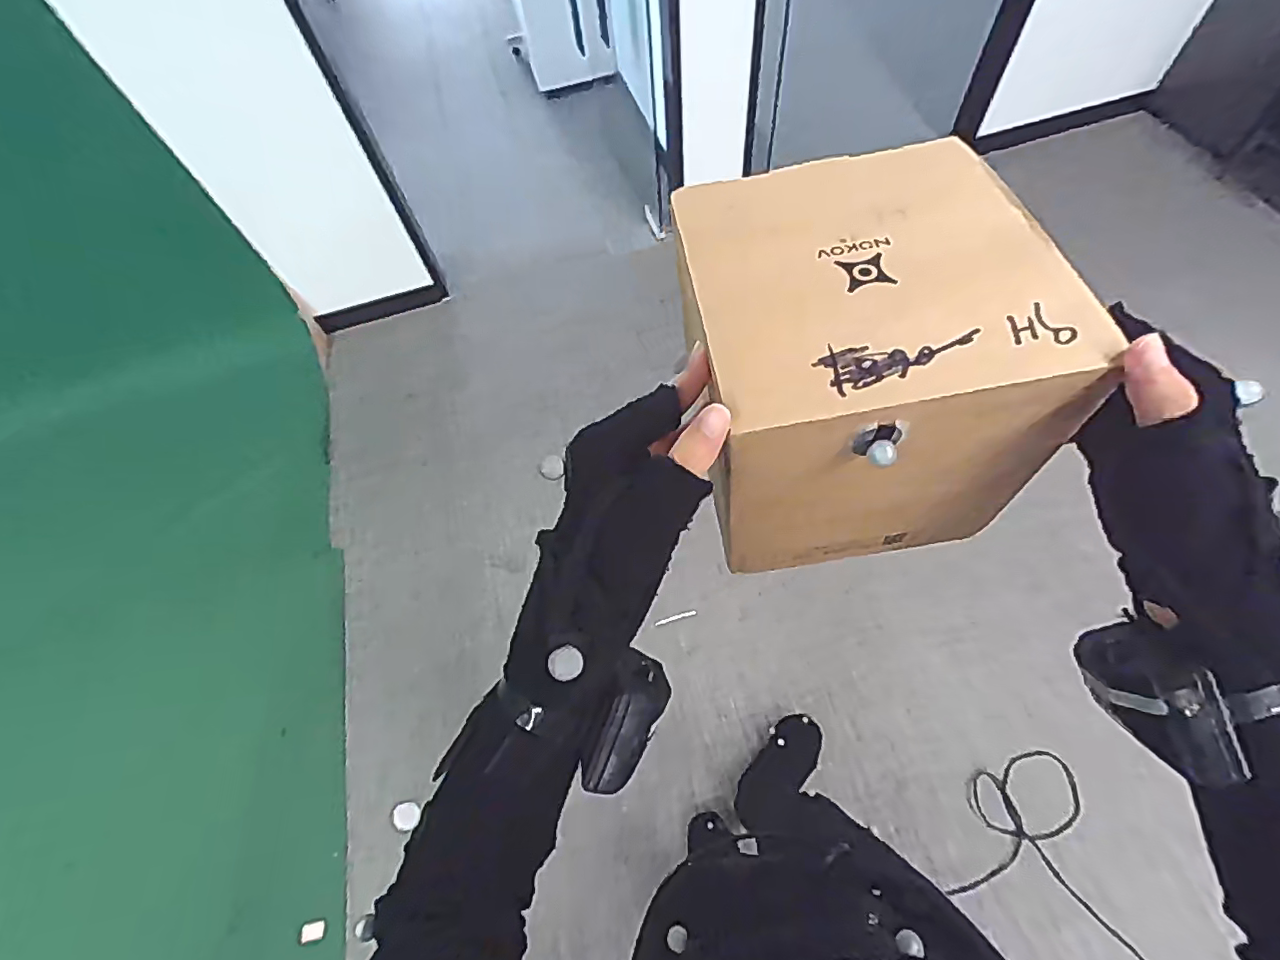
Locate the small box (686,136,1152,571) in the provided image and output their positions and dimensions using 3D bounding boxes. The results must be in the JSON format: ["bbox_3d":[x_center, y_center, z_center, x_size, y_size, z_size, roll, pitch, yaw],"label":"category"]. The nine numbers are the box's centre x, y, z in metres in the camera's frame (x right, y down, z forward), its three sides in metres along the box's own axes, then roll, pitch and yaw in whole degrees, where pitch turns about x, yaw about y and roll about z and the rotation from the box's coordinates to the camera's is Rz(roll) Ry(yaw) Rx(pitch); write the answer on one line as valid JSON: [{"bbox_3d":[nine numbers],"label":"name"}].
[{"bbox_3d":[0.124,-0.065,0.328,0.168,0.176,0.179,-10,58,4],"label":"small box"}]
